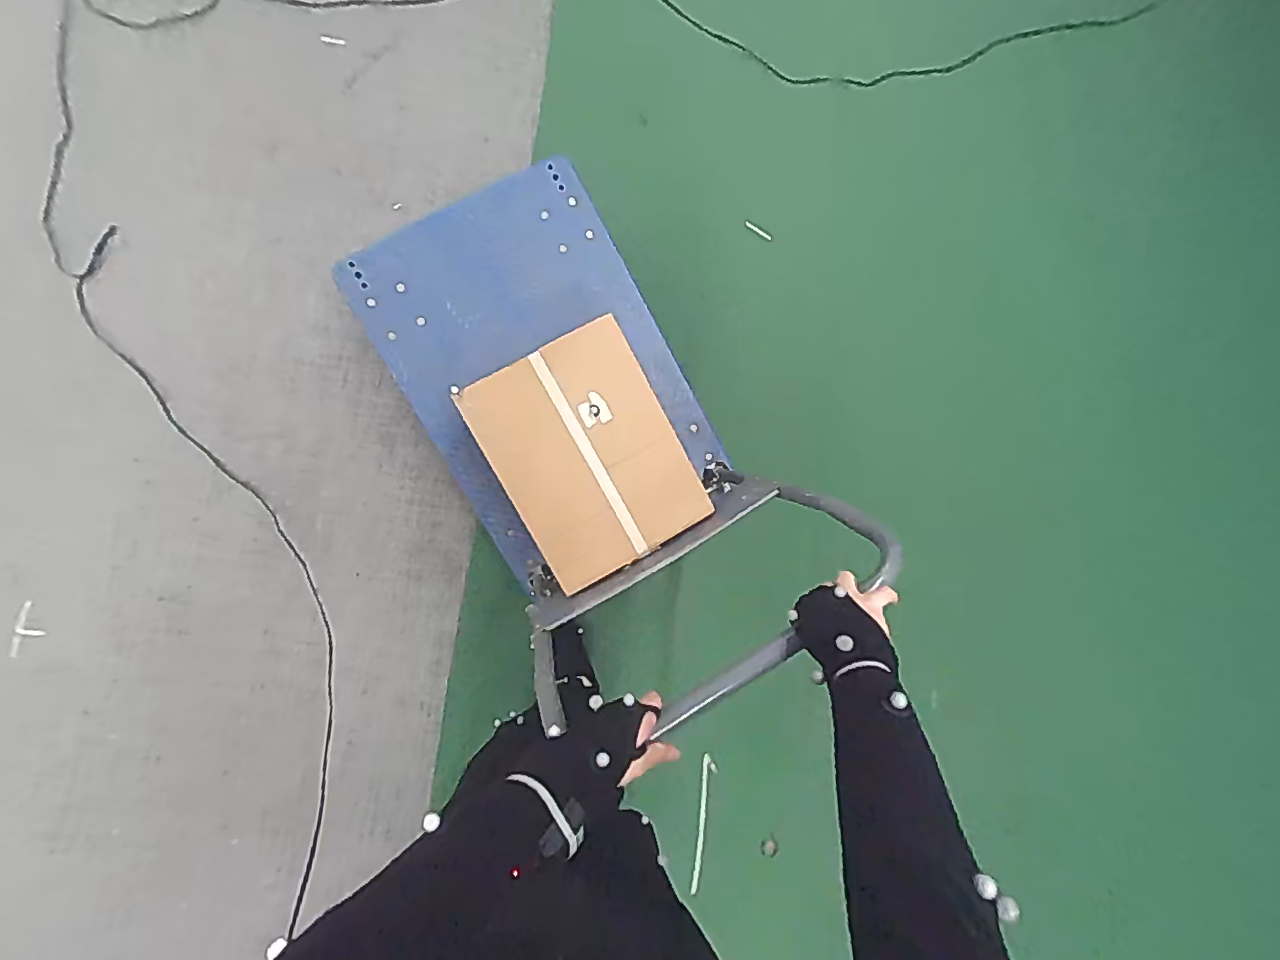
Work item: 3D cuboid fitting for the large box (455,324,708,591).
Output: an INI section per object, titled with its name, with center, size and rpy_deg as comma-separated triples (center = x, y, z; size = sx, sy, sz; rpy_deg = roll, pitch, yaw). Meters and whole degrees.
[large box]
center = -0.116, -0.044, 1.123
size = 0.320, 0.320, 0.408
rpy_deg = -30, 96, -7
